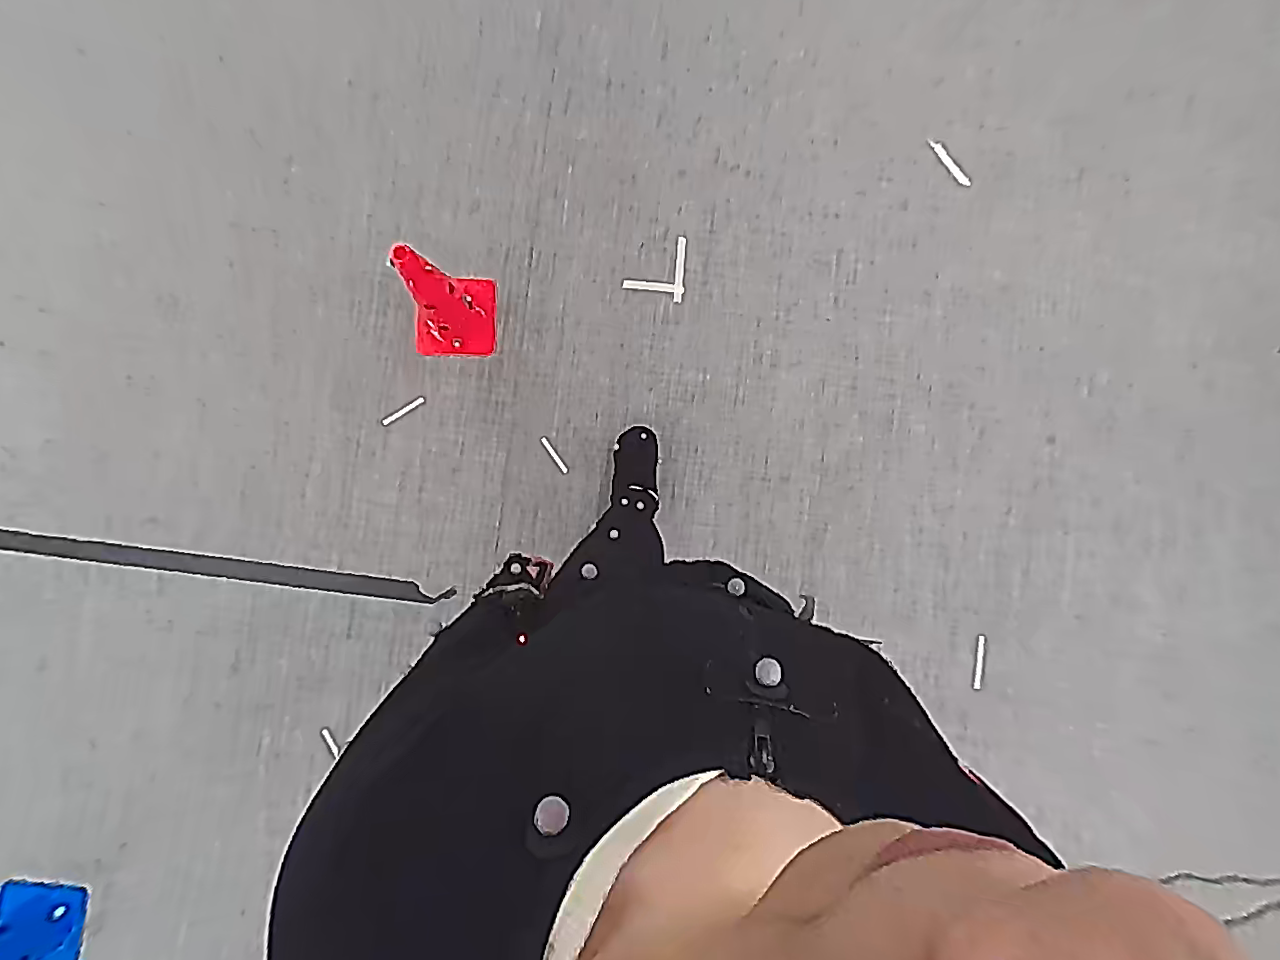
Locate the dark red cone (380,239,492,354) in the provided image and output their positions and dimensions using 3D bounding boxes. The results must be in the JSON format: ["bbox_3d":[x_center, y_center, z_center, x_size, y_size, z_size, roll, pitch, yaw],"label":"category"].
[{"bbox_3d":[-0.459,-0.412,1.162,0.202,0.394,0.201,0,89,-2],"label":"dark red cone"}]

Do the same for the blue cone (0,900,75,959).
[{"bbox_3d":[-1.407,1.070,1.088,0.193,0.380,0.192,8,88,-2],"label":"blue cone"}]
